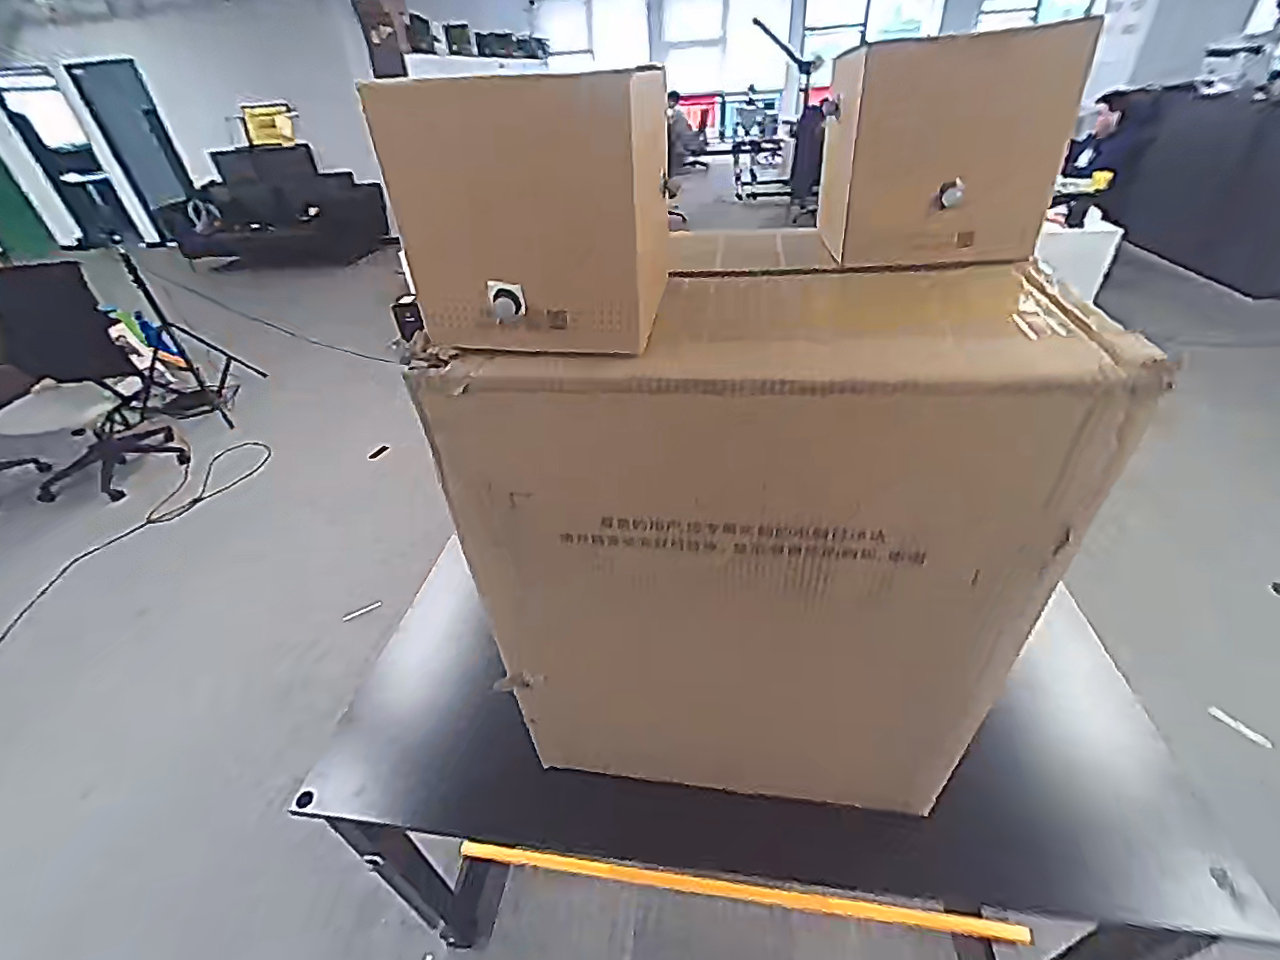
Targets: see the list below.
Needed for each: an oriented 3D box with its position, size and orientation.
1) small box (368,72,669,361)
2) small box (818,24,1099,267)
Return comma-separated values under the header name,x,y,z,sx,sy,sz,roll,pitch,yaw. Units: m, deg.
name,x,y,z,sx,sy,sz,roll,pitch,yaw
small box,-0.067,-0.207,0.420,0.168,0.176,0.179,2,38,8
small box,0.272,-0.310,0.518,0.168,0.176,0.179,0,34,9
